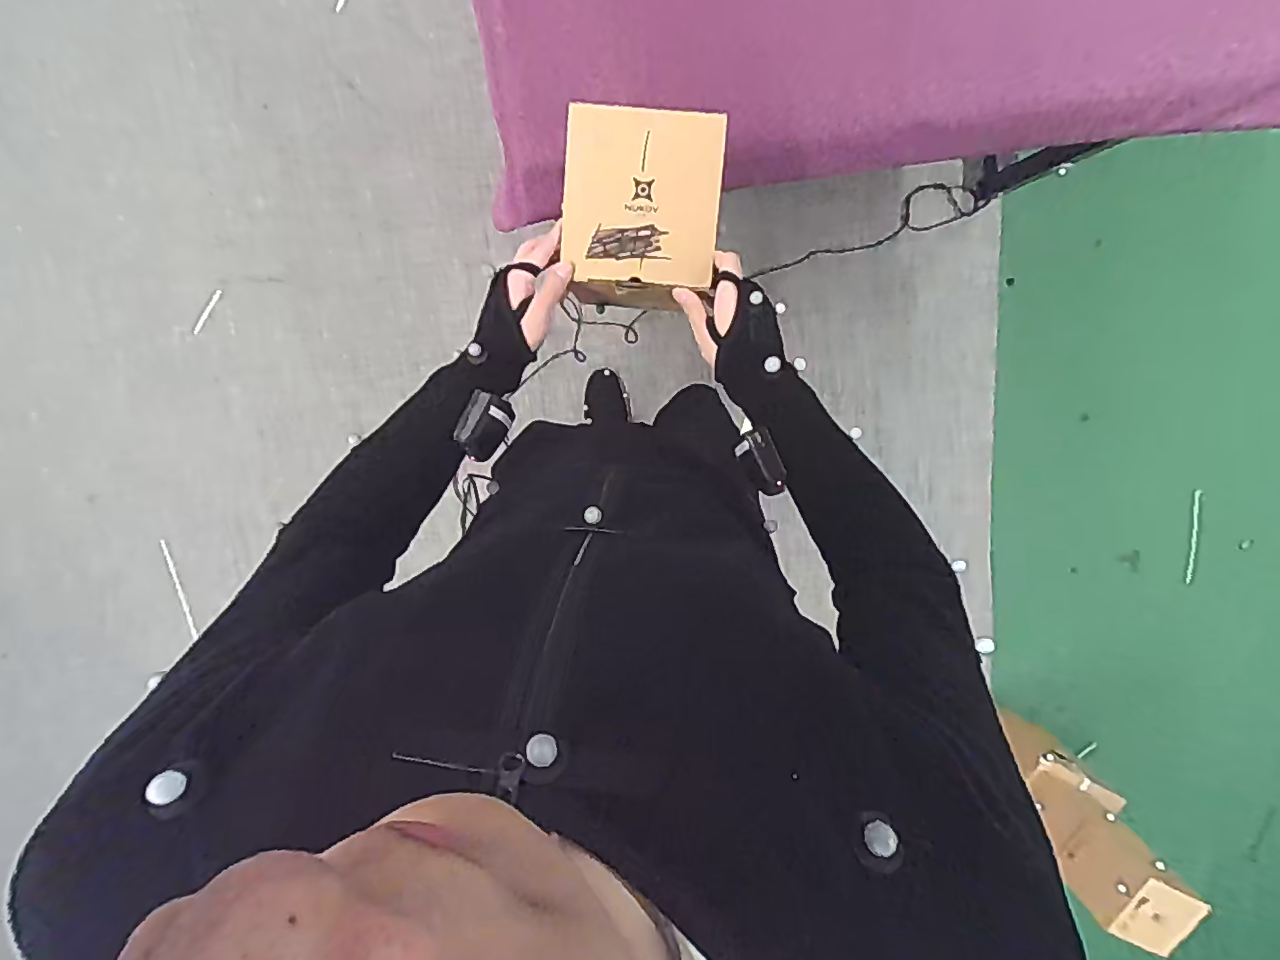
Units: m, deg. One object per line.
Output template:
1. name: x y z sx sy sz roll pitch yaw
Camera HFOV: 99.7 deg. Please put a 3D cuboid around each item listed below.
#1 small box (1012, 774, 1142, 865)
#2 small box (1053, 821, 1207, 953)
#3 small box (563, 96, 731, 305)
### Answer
1. small box: 1.173 0.942 1.465 0.179 0.176 0.168 28 100 -6
2. small box: 1.168 0.971 1.303 0.179 0.176 0.168 27 100 -7
3. small box: 0.008 -0.312 0.640 0.168 0.176 0.179 4 99 0
